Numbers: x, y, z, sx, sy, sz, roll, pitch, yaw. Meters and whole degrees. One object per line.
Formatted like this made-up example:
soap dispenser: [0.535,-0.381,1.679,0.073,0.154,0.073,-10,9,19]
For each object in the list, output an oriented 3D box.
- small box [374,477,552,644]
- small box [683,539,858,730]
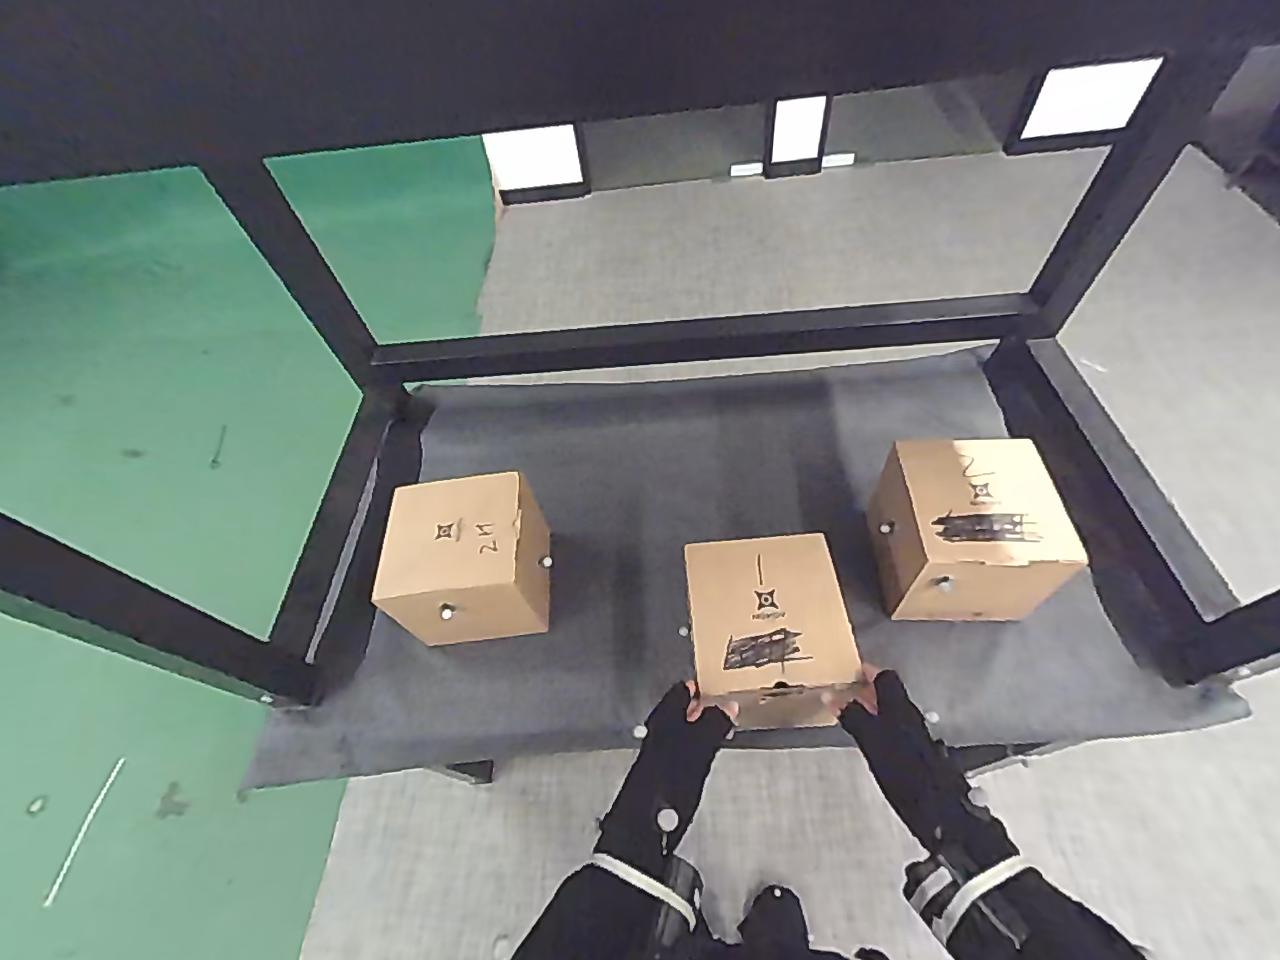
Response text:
small box: [-0.230,0.118,0.752,0.179,0.176,0.168,-7,55,2]
small box: [0.143,0.192,0.650,0.168,0.176,0.179,-5,52,4]
